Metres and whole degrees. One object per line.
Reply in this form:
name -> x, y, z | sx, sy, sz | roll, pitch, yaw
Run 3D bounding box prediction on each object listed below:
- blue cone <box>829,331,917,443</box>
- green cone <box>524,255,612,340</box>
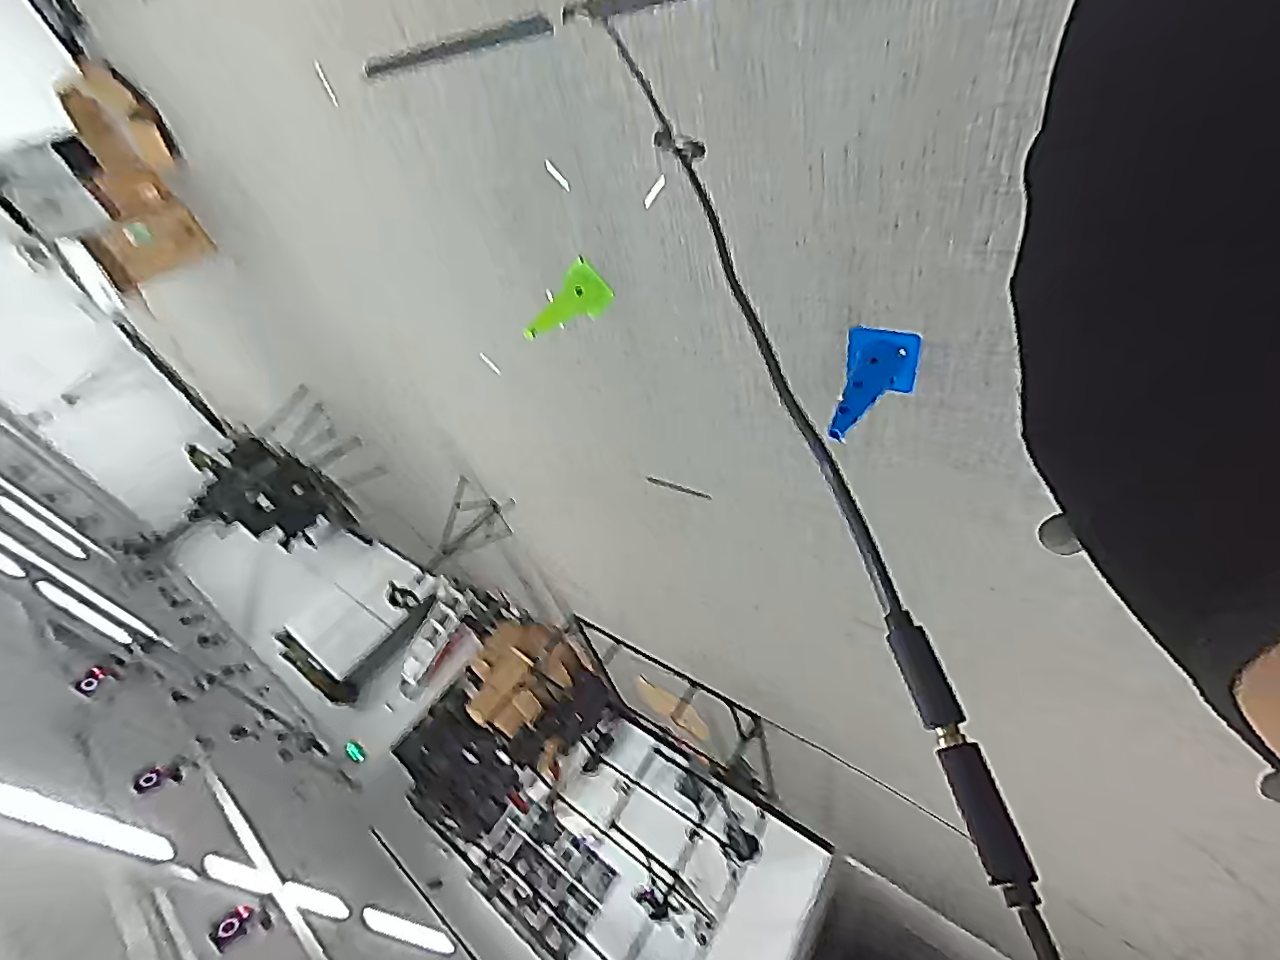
blue cone -> 0.622, -0.243, 1.521 | 0.193, 0.380, 0.192 | 21, 146, 31
green cone -> -0.309, -0.642, 2.027 | 0.202, 0.368, 0.200 | 46, 150, -12
